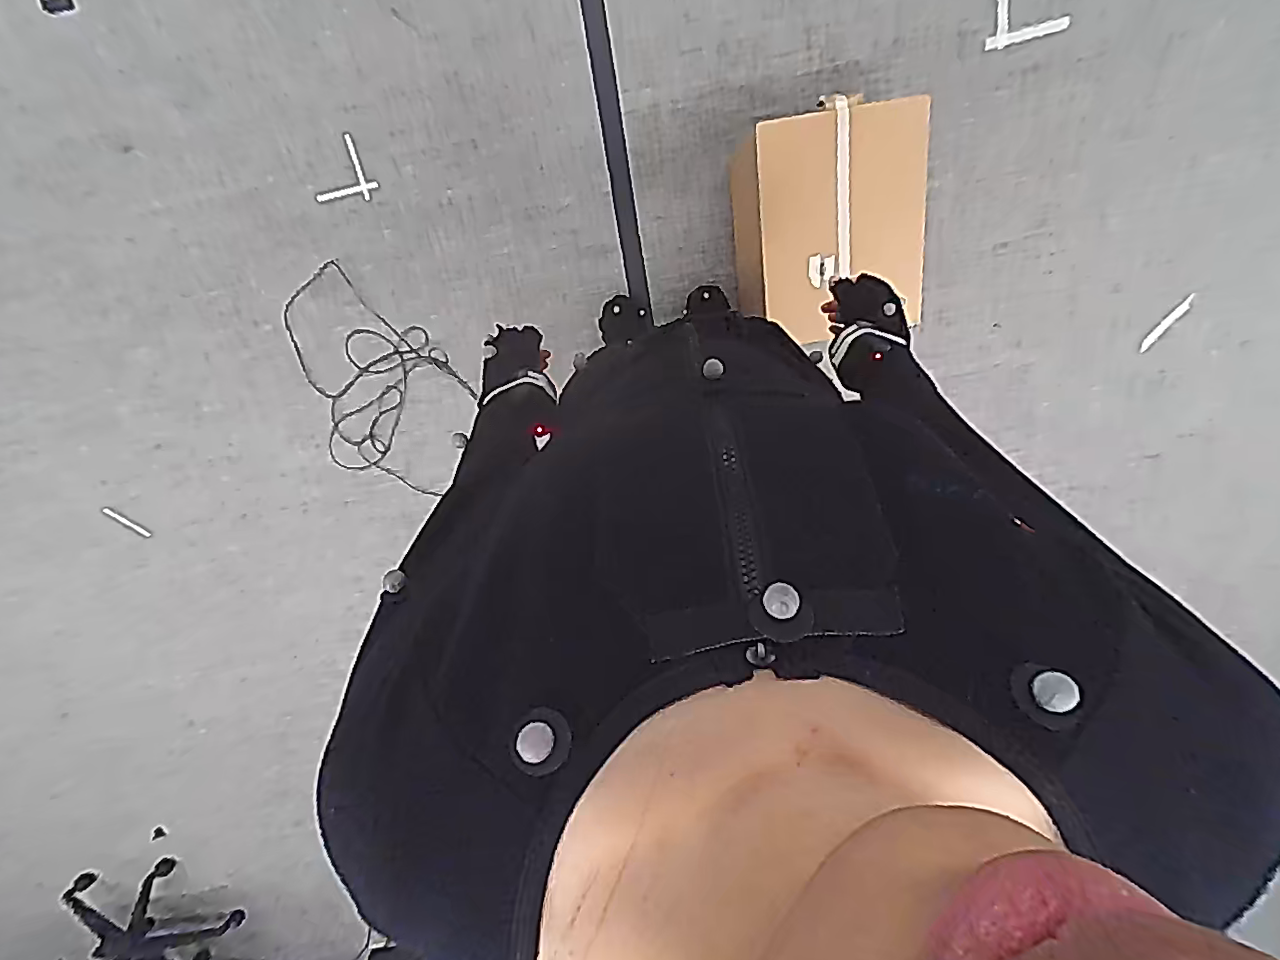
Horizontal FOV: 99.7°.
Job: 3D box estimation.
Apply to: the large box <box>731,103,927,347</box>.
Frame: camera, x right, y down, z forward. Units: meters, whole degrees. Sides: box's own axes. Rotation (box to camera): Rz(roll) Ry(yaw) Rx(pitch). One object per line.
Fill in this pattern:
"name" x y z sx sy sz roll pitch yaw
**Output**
"large box" 0.394 -0.537 1.193 0.320 0.320 0.408 -7 112 3
